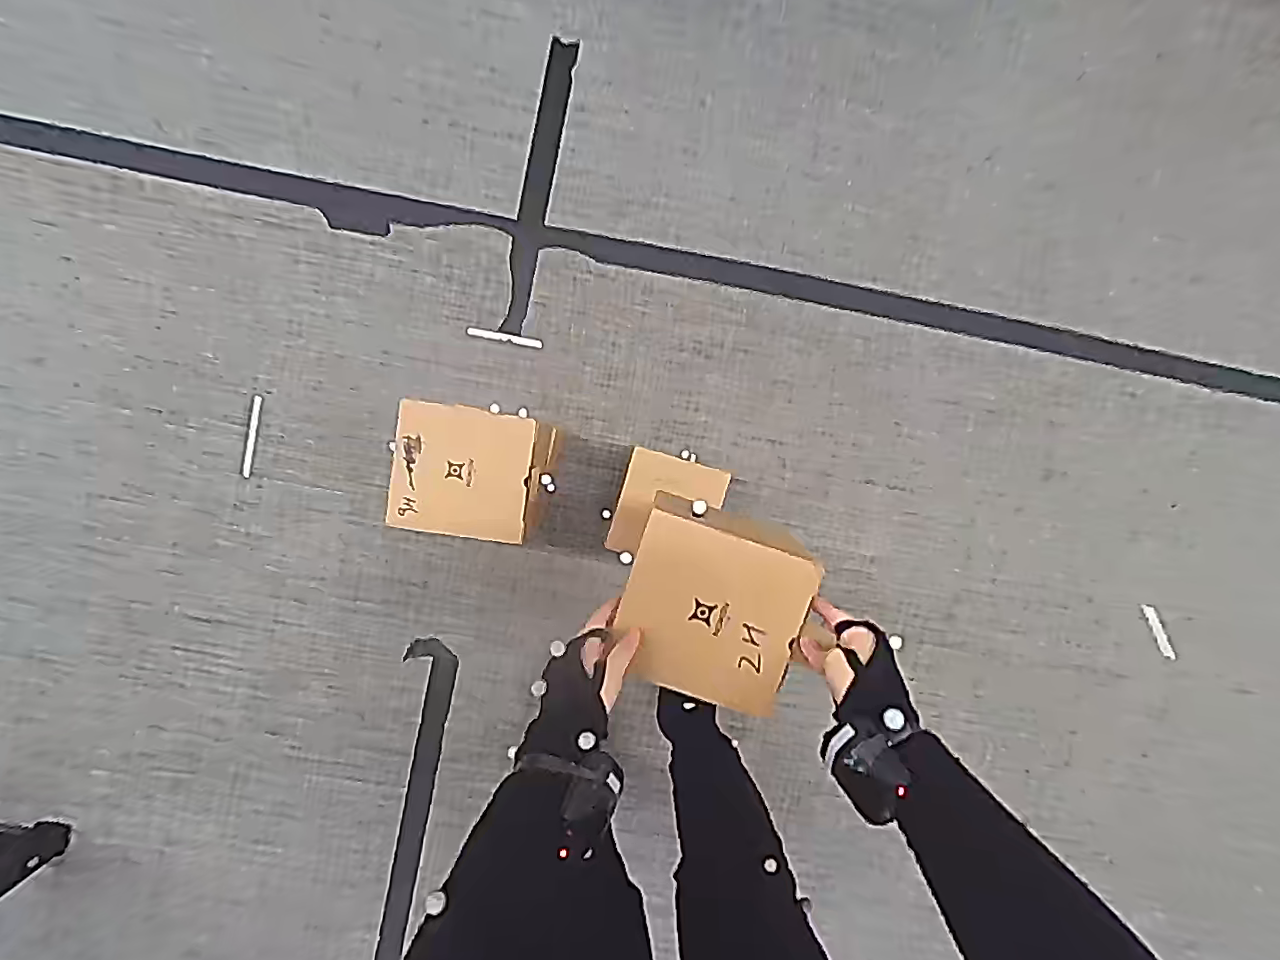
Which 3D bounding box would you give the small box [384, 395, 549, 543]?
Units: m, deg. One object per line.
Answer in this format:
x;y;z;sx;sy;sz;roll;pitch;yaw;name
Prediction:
-0.228;-0.019;0.756;0.179;0.176;0.168;9;93;-5;small box

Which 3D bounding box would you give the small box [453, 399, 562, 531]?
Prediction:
-0.234;-0.028;0.921;0.168;0.176;0.179;14;93;-5;small box

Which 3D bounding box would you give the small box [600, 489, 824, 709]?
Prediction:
0.072;0.114;0.599;0.179;0.176;0.168;18;97;1;small box

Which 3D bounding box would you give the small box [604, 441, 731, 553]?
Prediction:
0.040;0.039;0.943;0.168;0.176;0.179;17;93;-5;small box
